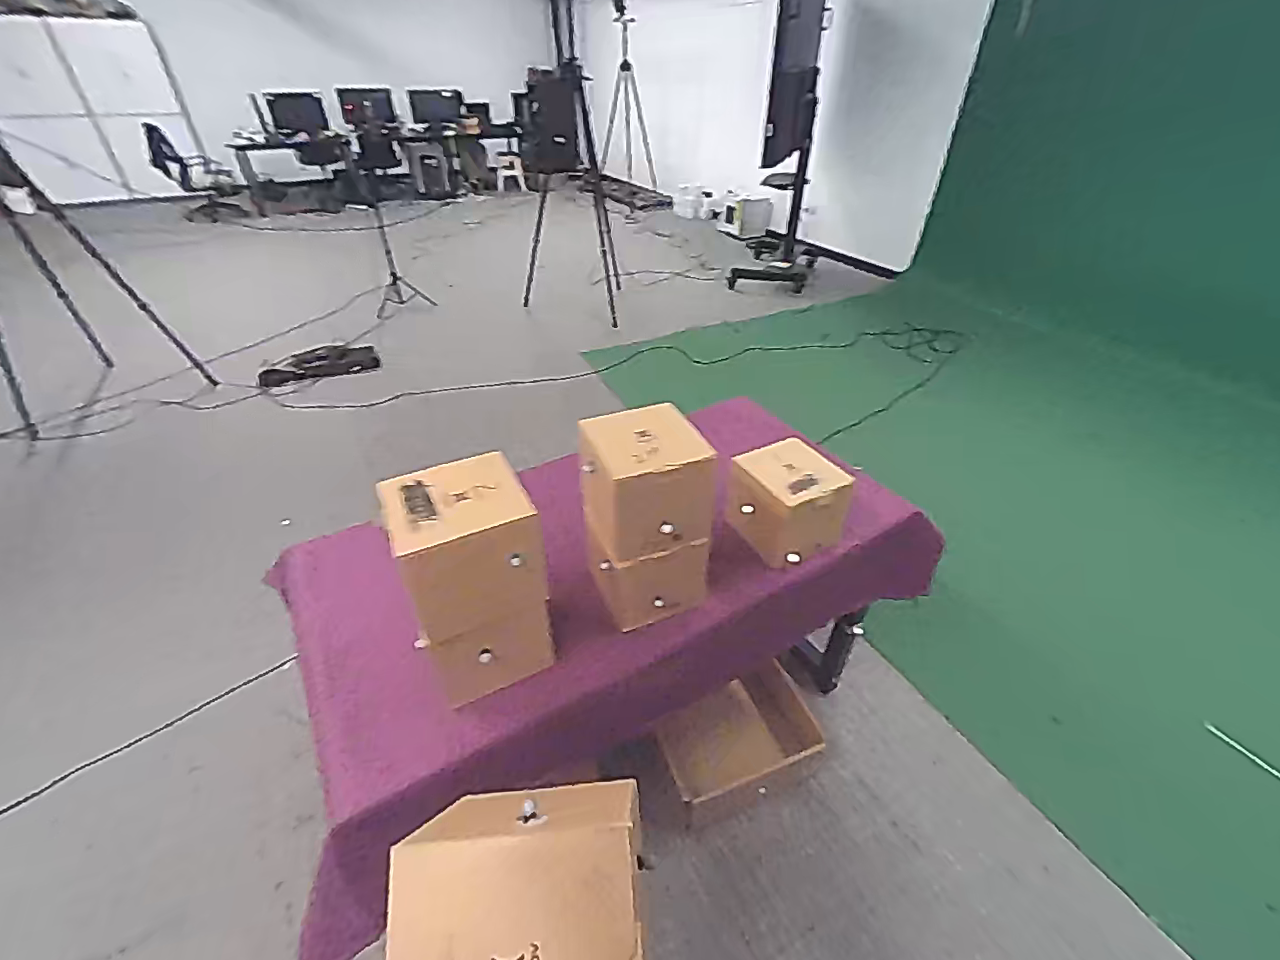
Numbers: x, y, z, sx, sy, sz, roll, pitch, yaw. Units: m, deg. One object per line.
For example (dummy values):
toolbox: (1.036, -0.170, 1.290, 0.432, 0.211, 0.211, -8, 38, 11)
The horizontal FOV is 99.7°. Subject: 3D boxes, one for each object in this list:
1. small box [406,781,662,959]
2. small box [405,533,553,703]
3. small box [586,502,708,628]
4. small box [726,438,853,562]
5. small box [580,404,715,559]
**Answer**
small box: (-0.072, 0.356, 0.442, 0.179, 0.176, 0.168, -4, 71, 0)
small box: (-0.253, 0.221, 0.869, 0.179, 0.176, 0.168, -18, 42, -21)
small box: (0.006, 0.134, 0.986, 0.168, 0.176, 0.179, -15, 41, -18)
small box: (0.294, 0.044, 1.098, 0.168, 0.176, 0.179, -18, 41, -22)
small box: (0.005, 0.000, 0.890, 0.168, 0.176, 0.179, -14, 41, -17)
